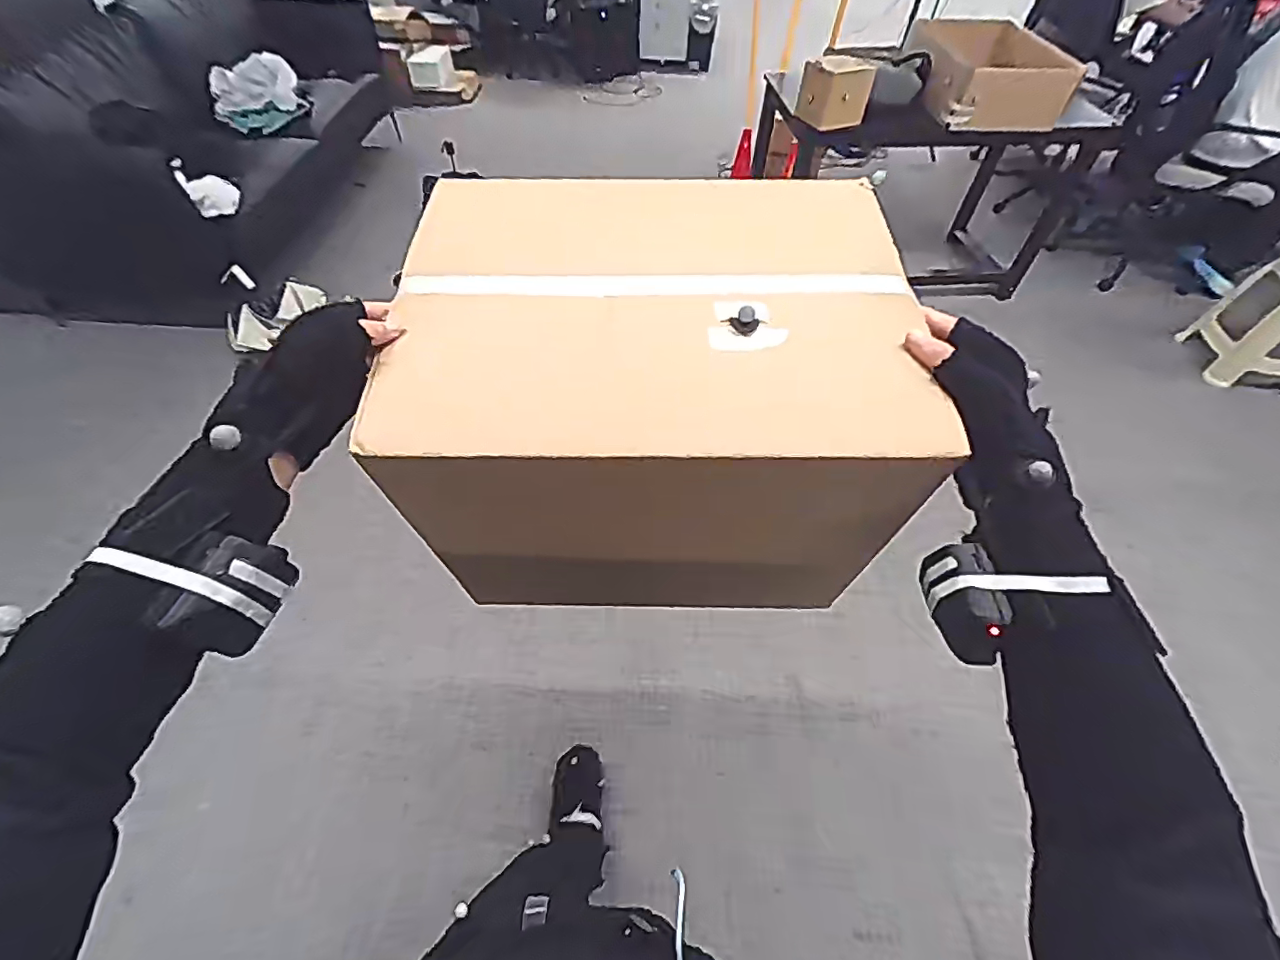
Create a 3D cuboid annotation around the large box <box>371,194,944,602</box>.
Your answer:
[{"bbox_3d":[0.010,-0.069,0.572,0.408,0.320,0.320,0,59,0],"label":"large box"}]
